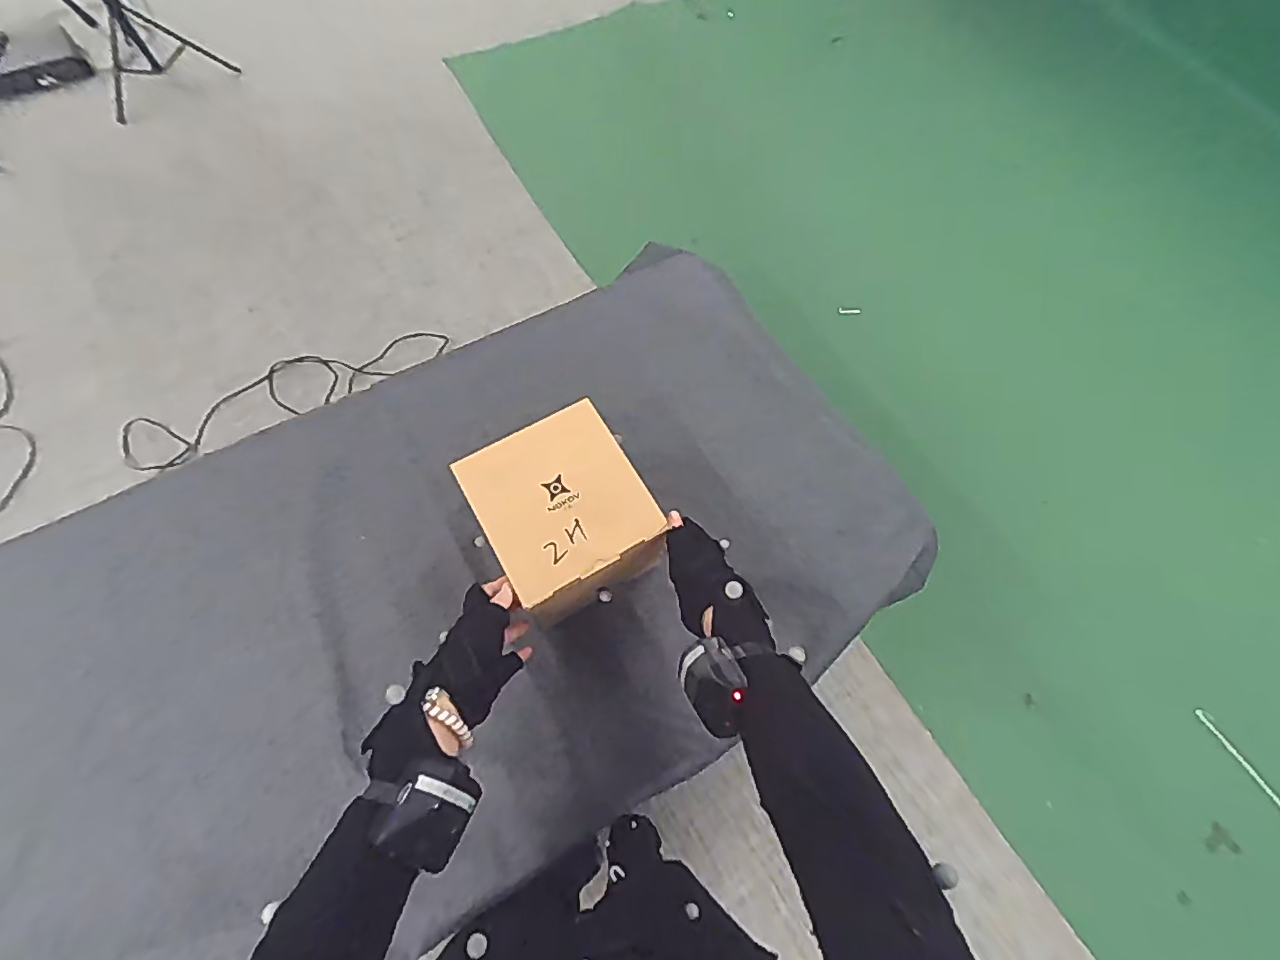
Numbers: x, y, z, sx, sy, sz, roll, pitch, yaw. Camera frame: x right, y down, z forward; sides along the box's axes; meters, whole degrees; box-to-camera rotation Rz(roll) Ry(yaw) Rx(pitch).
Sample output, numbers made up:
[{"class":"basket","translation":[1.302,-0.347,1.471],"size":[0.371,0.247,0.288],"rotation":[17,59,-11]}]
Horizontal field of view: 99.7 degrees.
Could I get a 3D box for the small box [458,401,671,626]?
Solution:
[{"class":"small box","translation":[-0.084,0.047,0.627],"size":[0.168,0.176,0.179],"rotation":[-28,71,-13]}]
